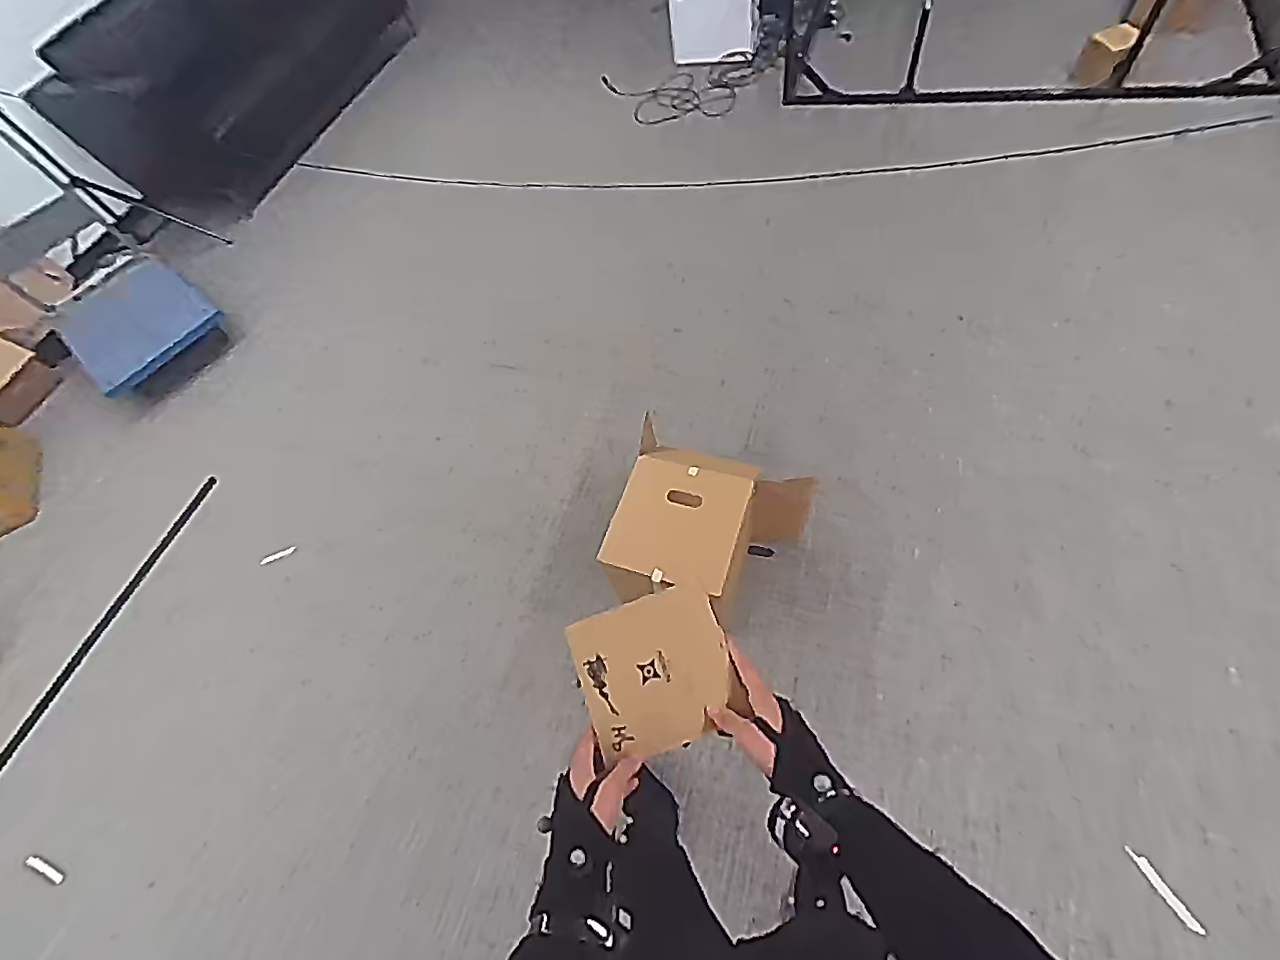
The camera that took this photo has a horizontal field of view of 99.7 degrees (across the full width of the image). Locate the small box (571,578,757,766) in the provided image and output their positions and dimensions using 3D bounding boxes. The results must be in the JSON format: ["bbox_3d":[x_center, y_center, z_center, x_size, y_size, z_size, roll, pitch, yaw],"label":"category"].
[{"bbox_3d":[0.028,0.239,0.691,0.179,0.176,0.168,-19,70,-2],"label":"small box"}]
